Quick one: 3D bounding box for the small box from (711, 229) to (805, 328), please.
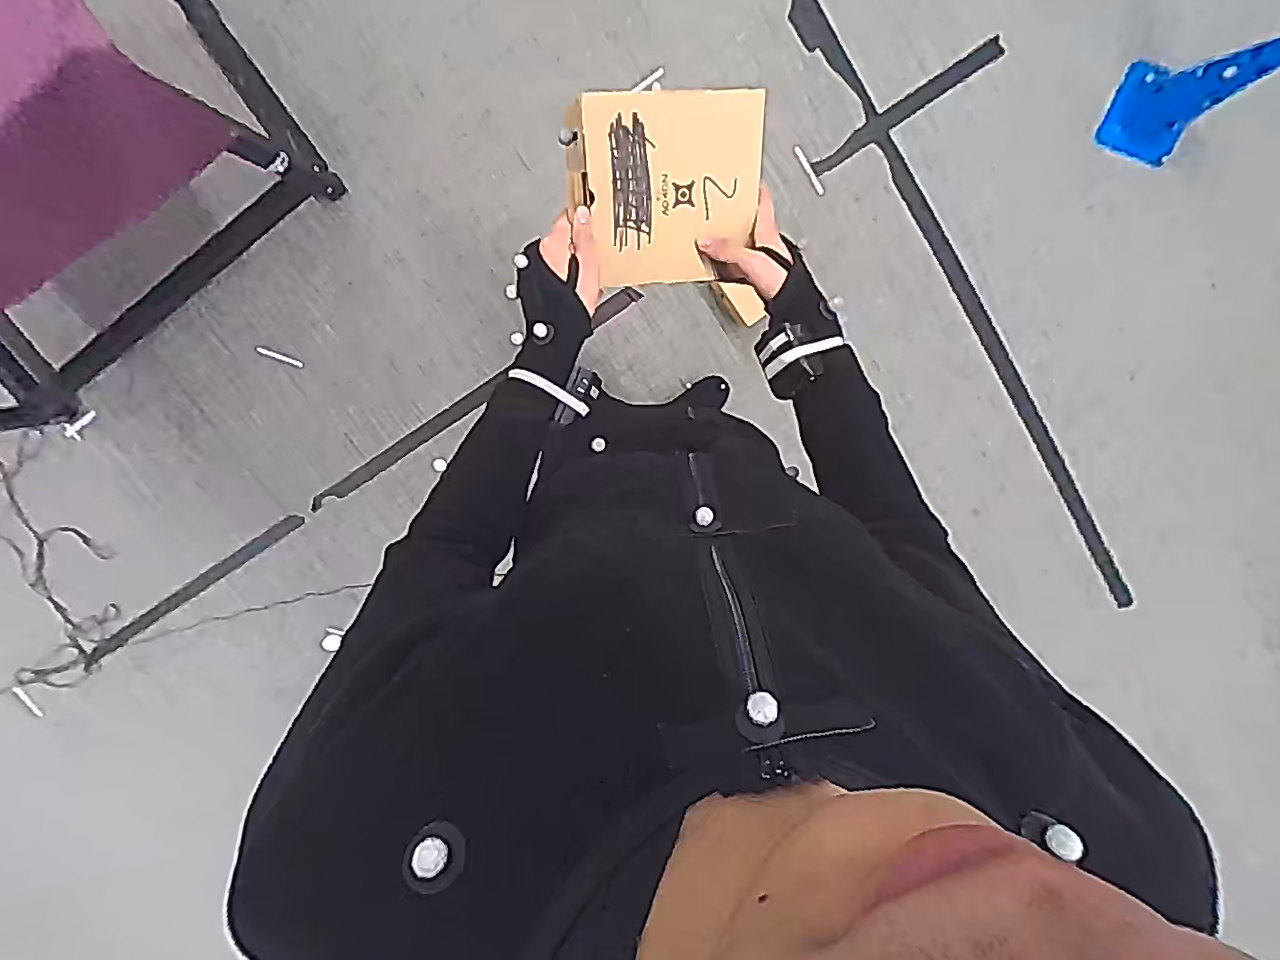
[{"bbox_3d":[0.300,-0.517,1.418,0.179,0.176,0.168,-36,99,10],"label":"small box"}]
